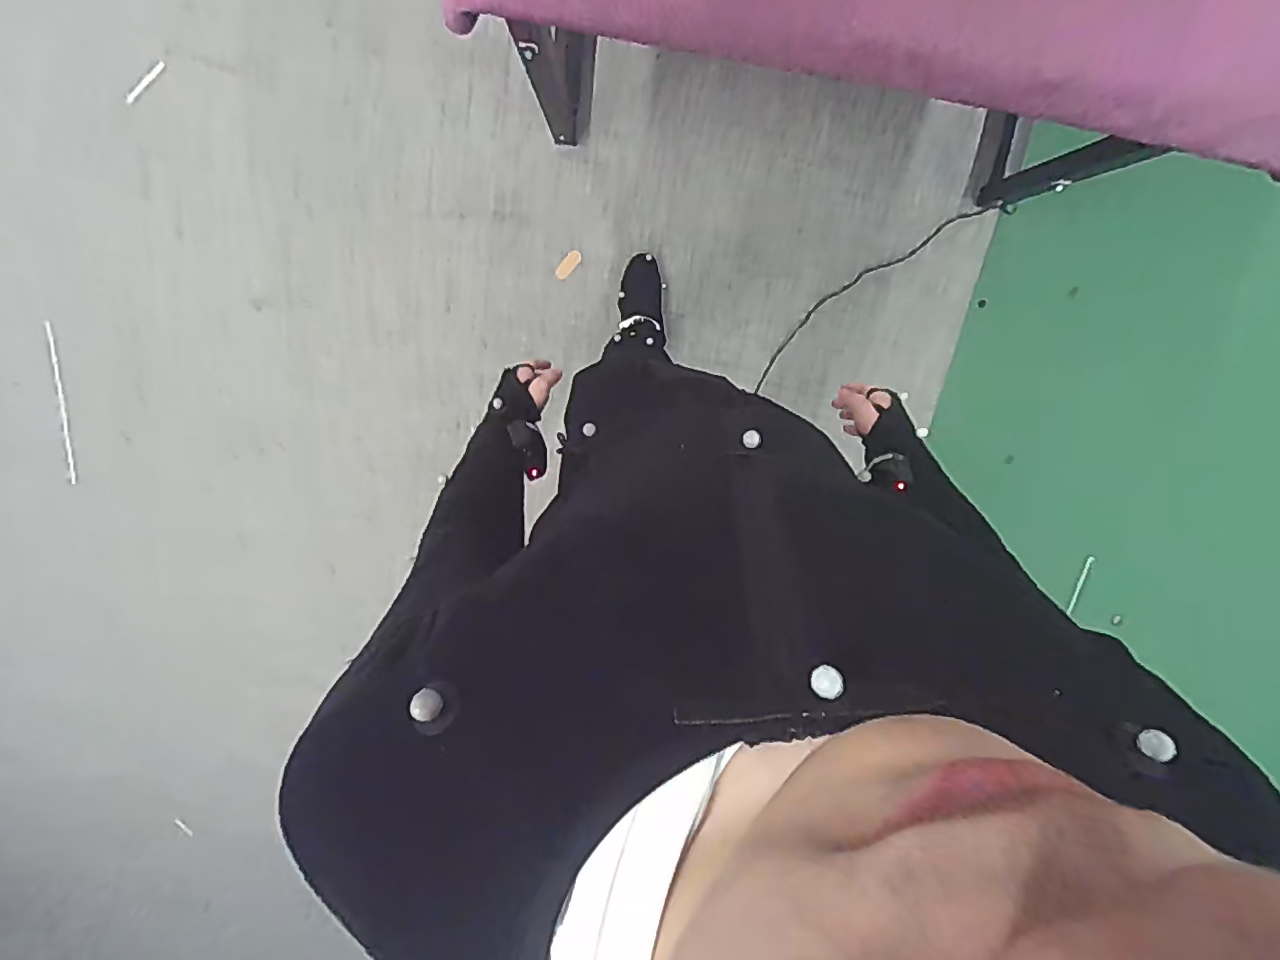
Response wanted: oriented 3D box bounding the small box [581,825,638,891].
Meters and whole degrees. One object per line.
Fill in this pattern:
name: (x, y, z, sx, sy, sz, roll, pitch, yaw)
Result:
small box: (-0.108, 1.375, 1.936, 0.179, 0.176, 0.168, 11, 106, -4)
